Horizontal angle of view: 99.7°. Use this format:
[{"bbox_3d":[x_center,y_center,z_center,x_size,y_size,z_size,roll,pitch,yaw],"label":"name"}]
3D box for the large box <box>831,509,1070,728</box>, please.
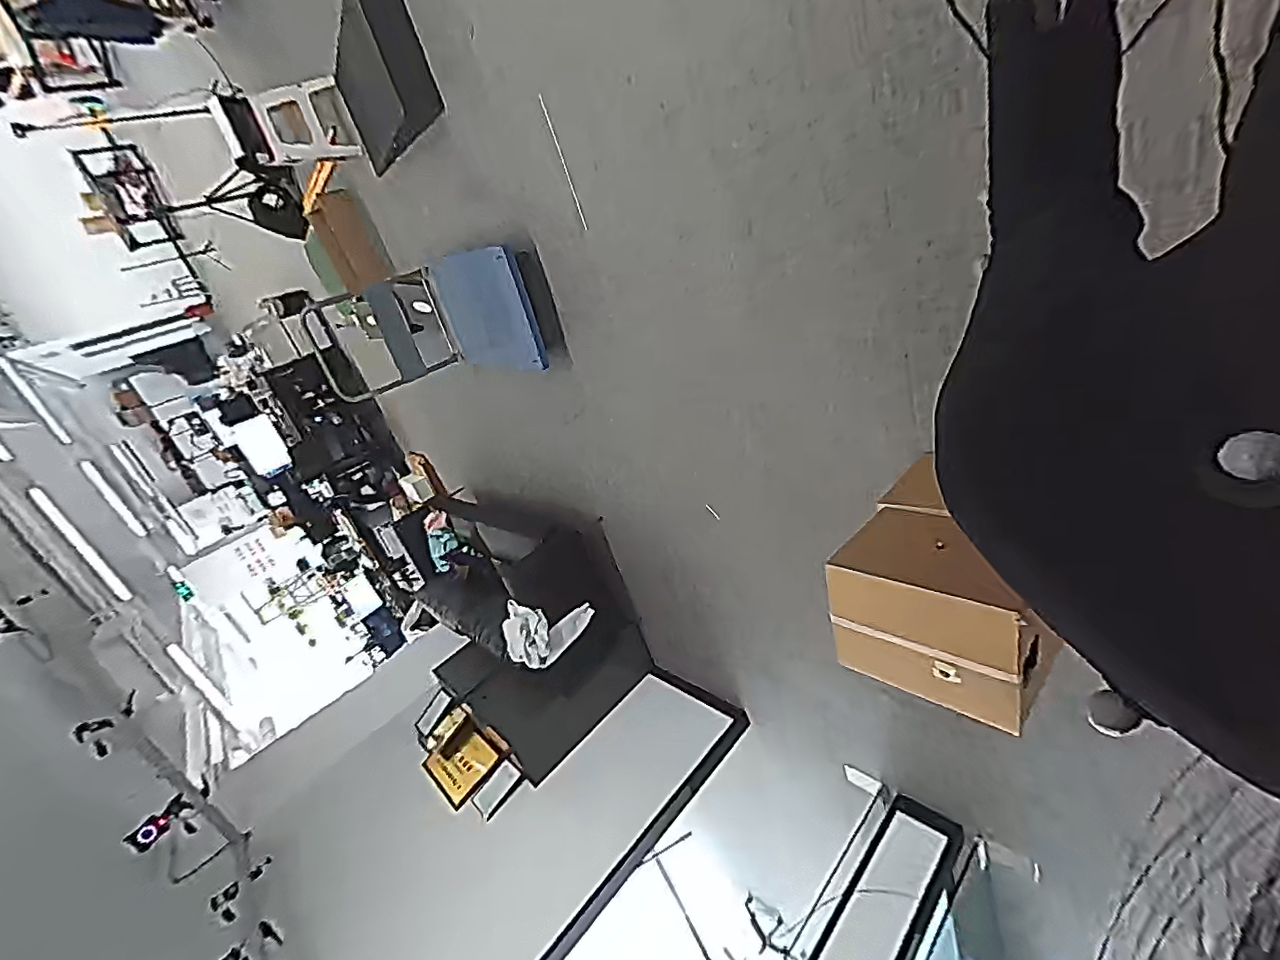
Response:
[{"bbox_3d":[0.724,0.288,1.277,0.408,0.320,0.320,10,122,48],"label":"large box"}]
